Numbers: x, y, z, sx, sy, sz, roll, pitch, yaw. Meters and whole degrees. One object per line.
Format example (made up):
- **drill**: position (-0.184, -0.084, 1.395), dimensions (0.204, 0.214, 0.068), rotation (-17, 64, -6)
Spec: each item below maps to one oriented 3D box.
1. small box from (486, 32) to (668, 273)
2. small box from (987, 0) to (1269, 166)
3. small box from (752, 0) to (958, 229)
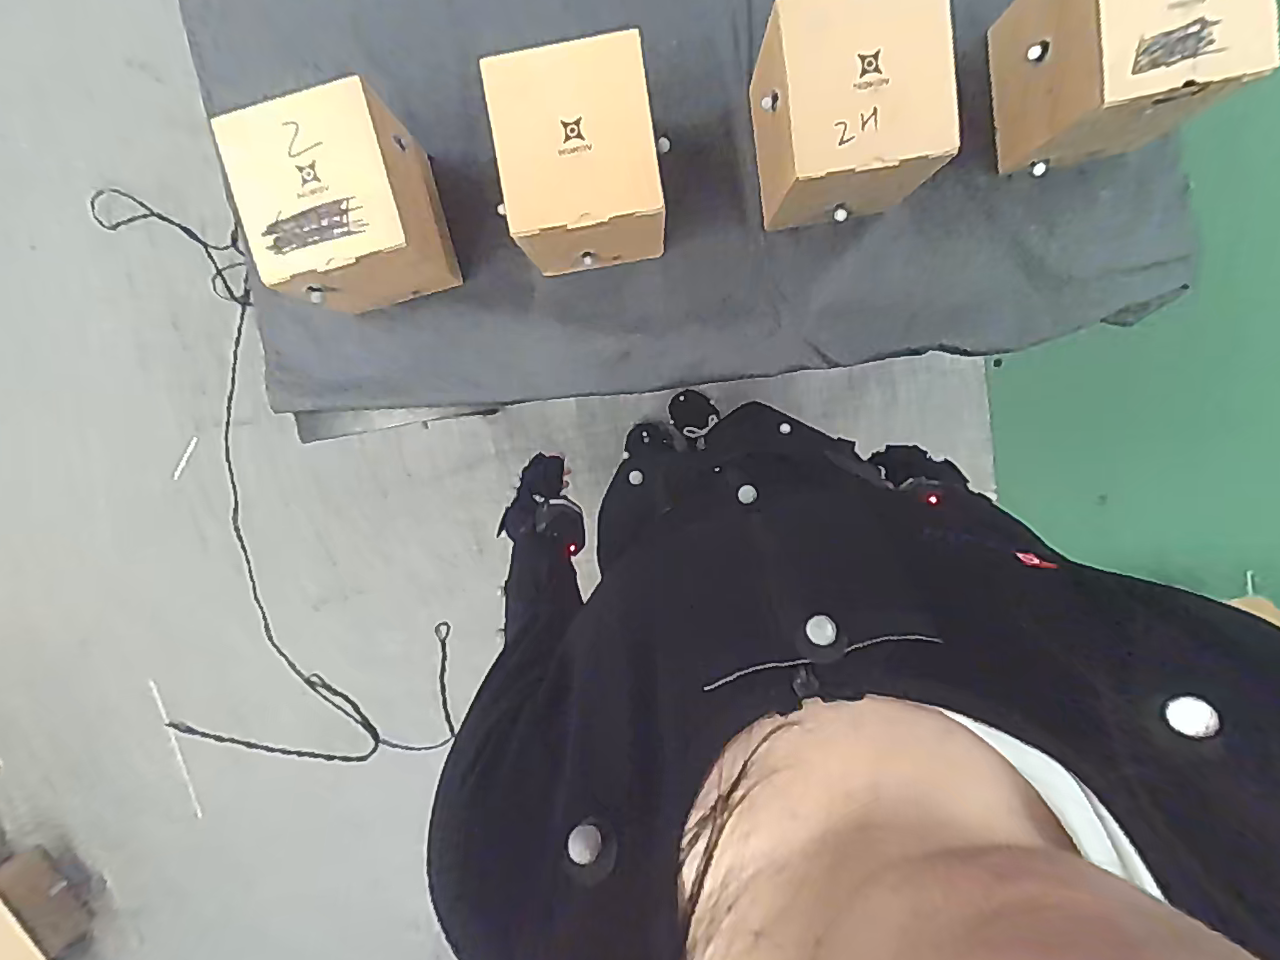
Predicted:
- **small box**: position (-0.064, -0.363, 0.632), dimensions (0.168, 0.176, 0.179), rotation (-9, 98, 2)
- **small box**: position (0.522, -0.478, 0.602), dimensions (0.168, 0.176, 0.179), rotation (-10, 97, 3)
- **small box**: position (0.230, -0.414, 0.617), dimensions (0.168, 0.176, 0.179), rotation (-9, 98, 3)
